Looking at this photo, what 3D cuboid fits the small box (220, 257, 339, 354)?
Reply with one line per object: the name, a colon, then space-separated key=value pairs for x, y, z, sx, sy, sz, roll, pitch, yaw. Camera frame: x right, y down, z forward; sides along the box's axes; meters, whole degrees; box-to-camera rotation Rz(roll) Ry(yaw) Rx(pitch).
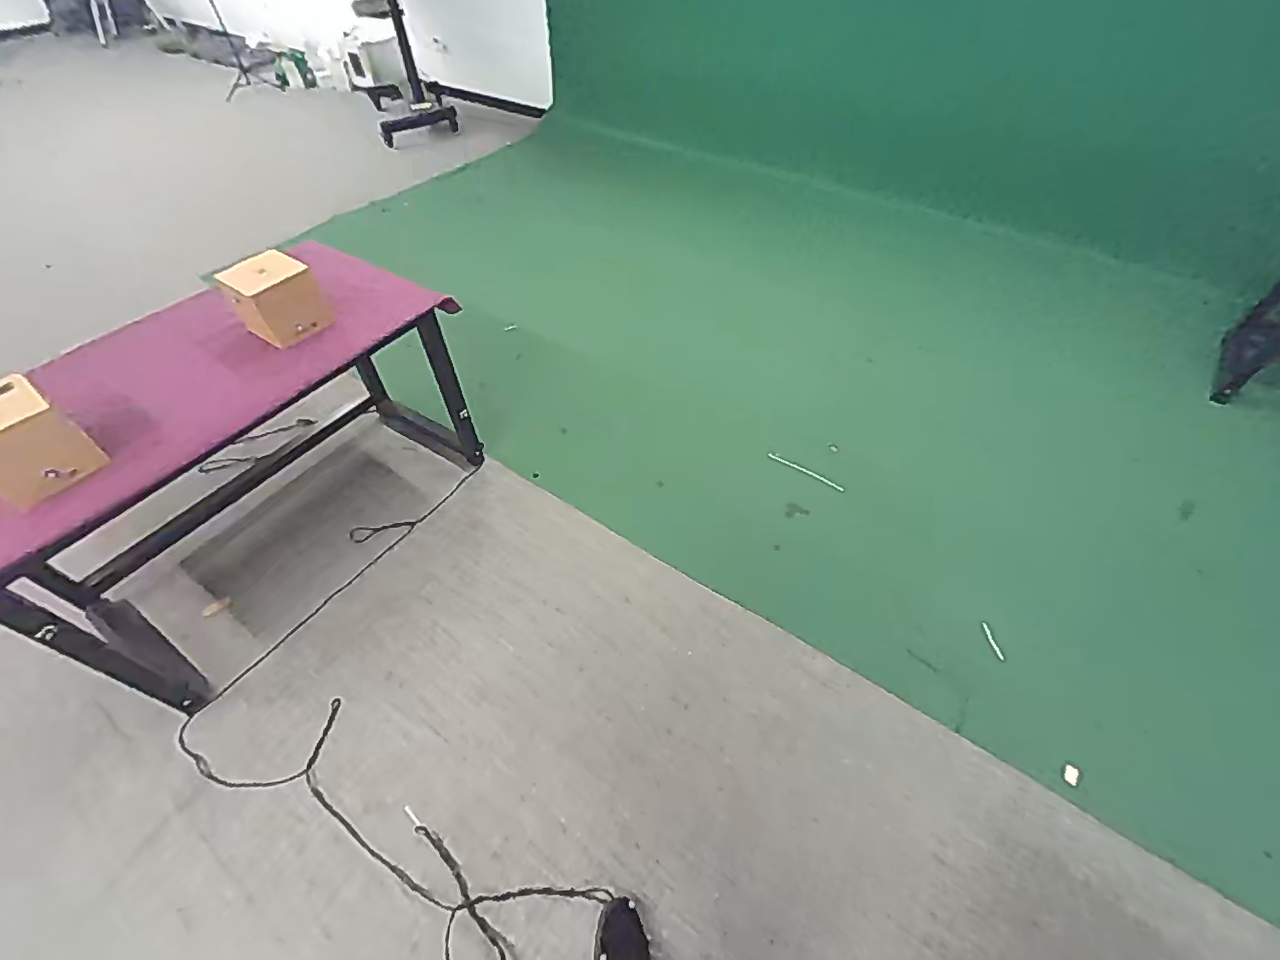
small box: x=-0.956 y=-0.463 z=1.446 sx=0.179 sy=0.176 sz=0.168 roll=29 pitch=57 yaw=23
